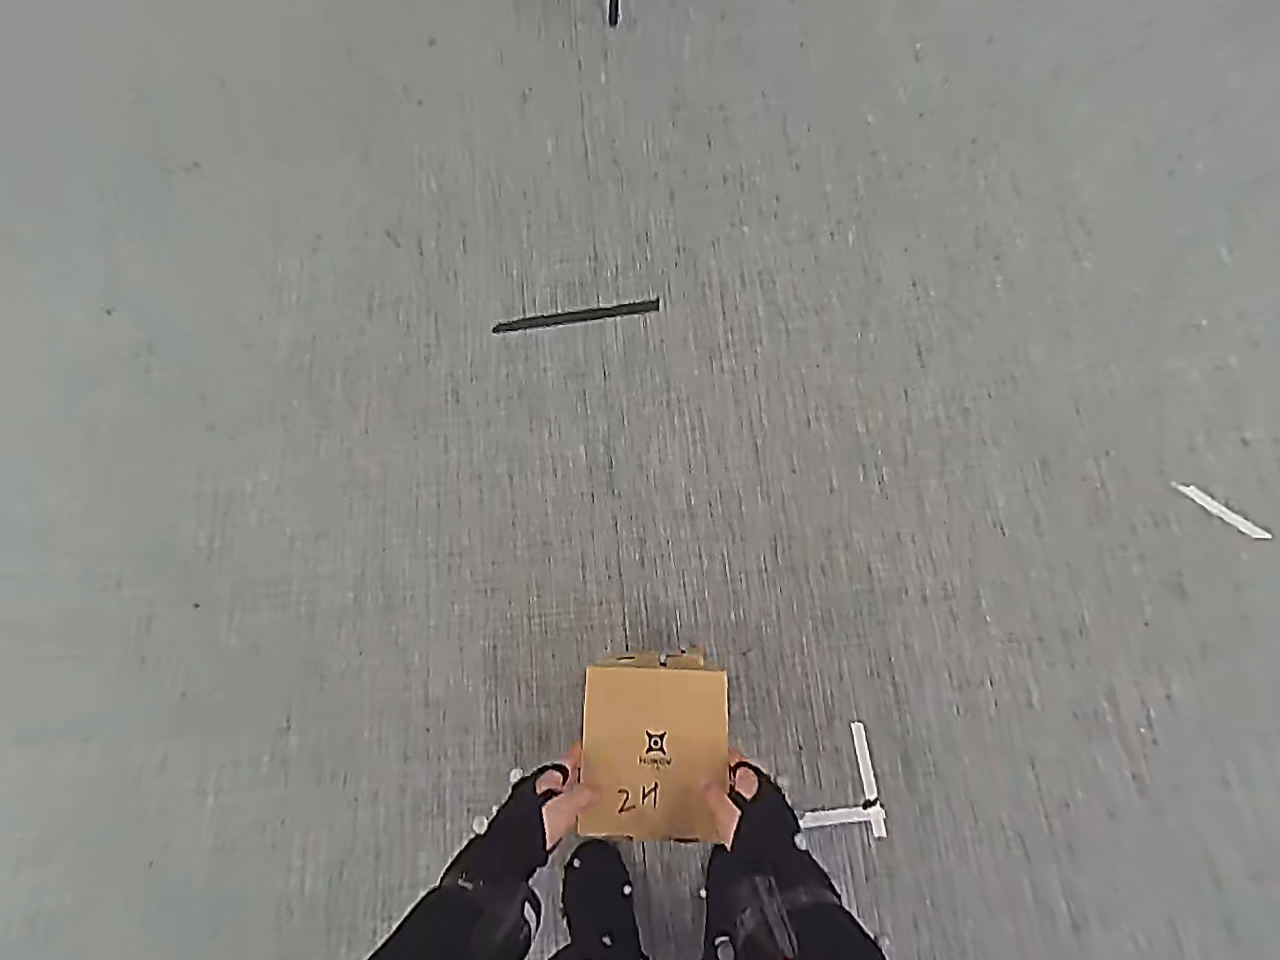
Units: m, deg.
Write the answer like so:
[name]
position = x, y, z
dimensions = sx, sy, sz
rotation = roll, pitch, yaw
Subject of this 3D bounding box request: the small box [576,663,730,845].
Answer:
[small box]
position = 0.019, 0.321, 0.669
dimensions = 0.168, 0.176, 0.179
rotation = 0, 73, 4
